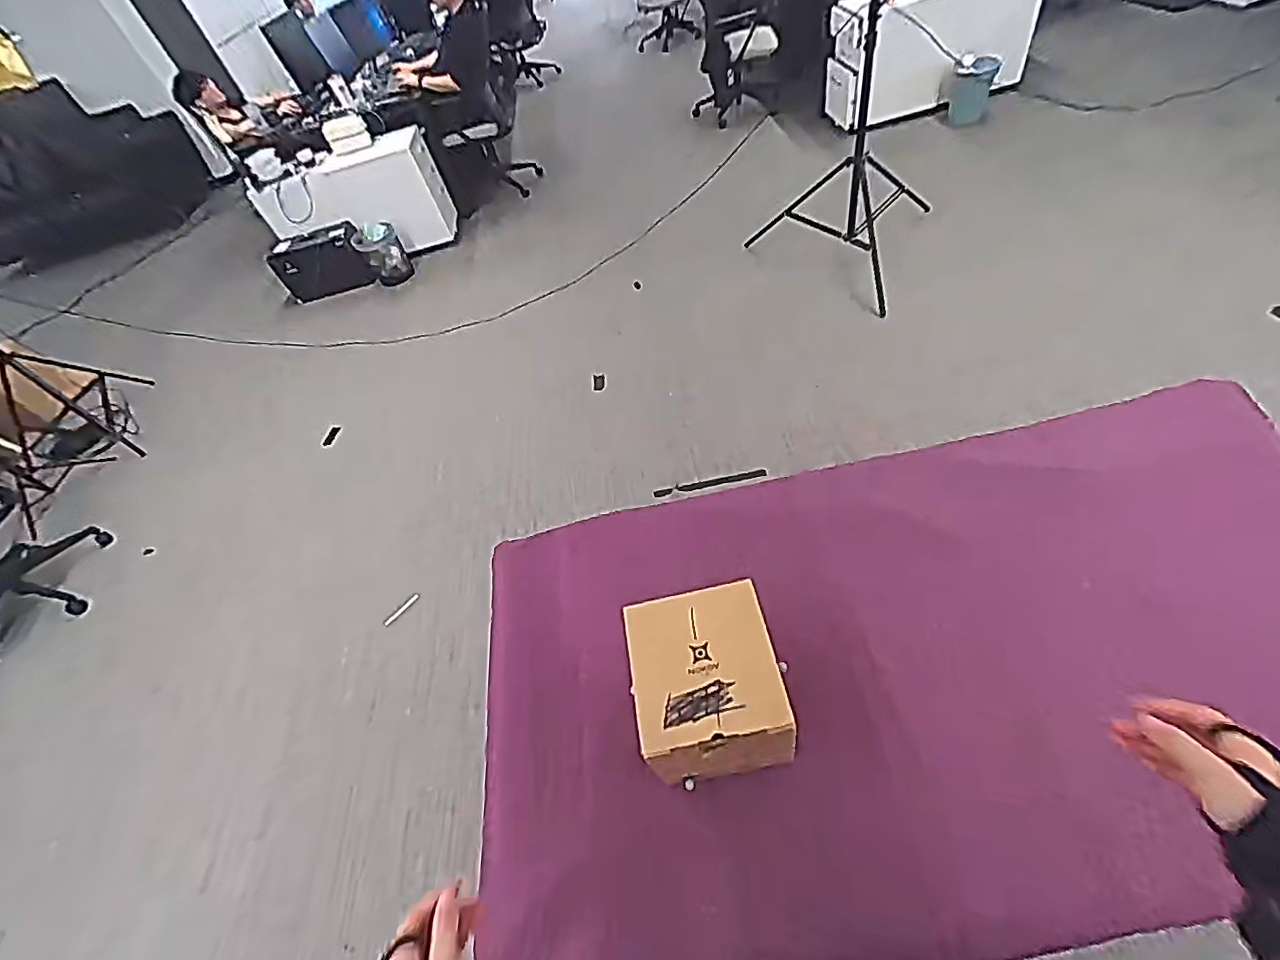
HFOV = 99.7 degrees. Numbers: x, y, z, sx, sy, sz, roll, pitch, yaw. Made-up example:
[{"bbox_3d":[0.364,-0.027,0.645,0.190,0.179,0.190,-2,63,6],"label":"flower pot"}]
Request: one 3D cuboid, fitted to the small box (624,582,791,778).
[{"bbox_3d":[0.085,0.257,0.676,0.168,0.176,0.179,-13,49,3],"label":"small box"}]
